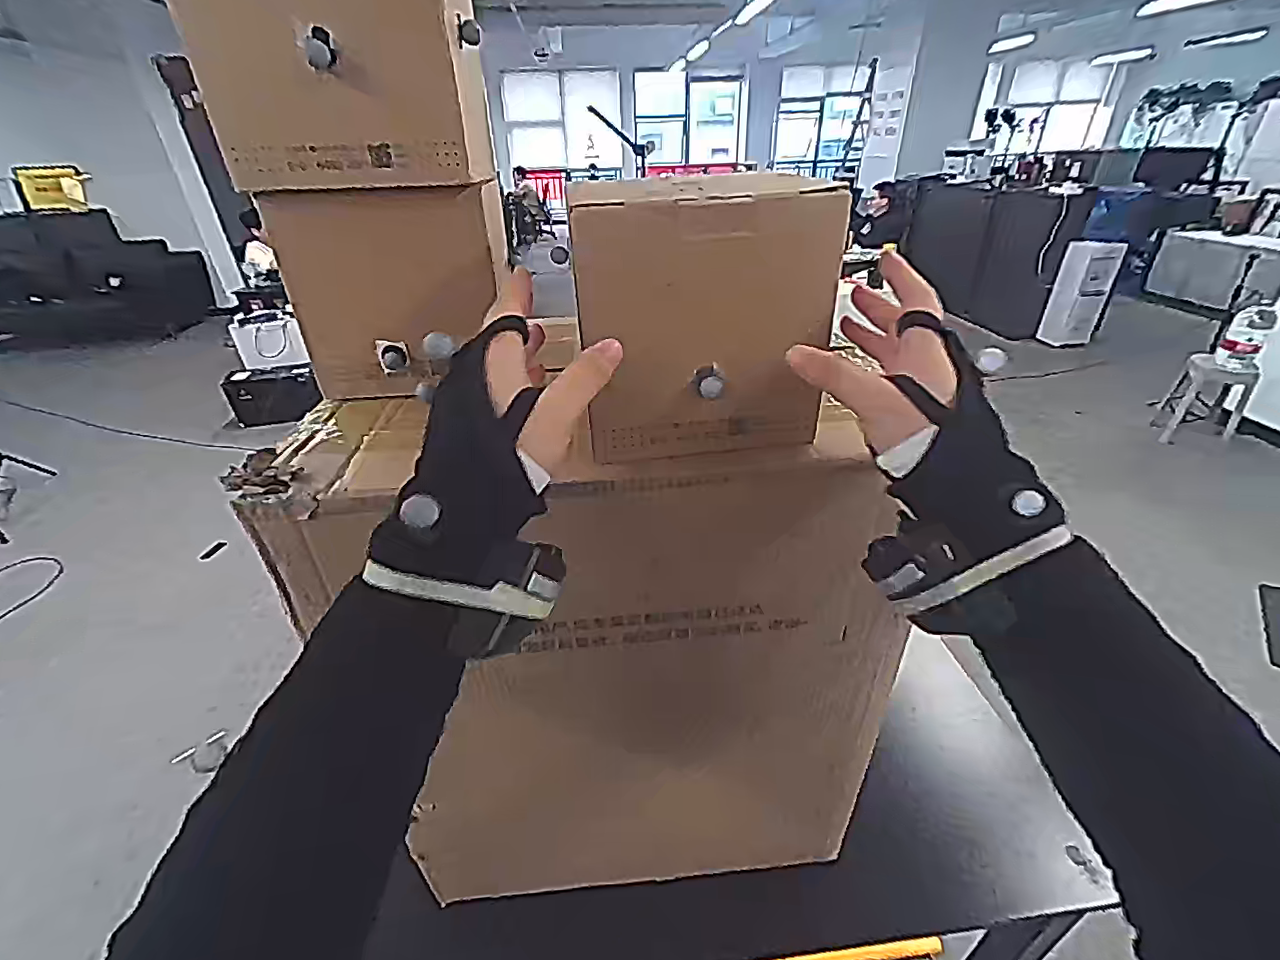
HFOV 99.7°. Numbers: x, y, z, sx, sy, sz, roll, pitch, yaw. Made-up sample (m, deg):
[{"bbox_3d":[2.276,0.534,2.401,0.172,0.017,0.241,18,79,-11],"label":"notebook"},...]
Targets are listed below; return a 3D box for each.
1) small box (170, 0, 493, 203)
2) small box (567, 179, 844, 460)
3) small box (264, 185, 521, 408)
[{"bbox_3d":[-0.216,-0.314,0.421,0.168,0.176,0.179,-6,32,-6],"label":"small box"},{"bbox_3d":[0.034,-0.132,0.423,0.168,0.176,0.179,-7,33,-4],"label":"small box"},{"bbox_3d":[-0.210,-0.182,0.520,0.168,0.176,0.179,-7,32,-7],"label":"small box"}]
